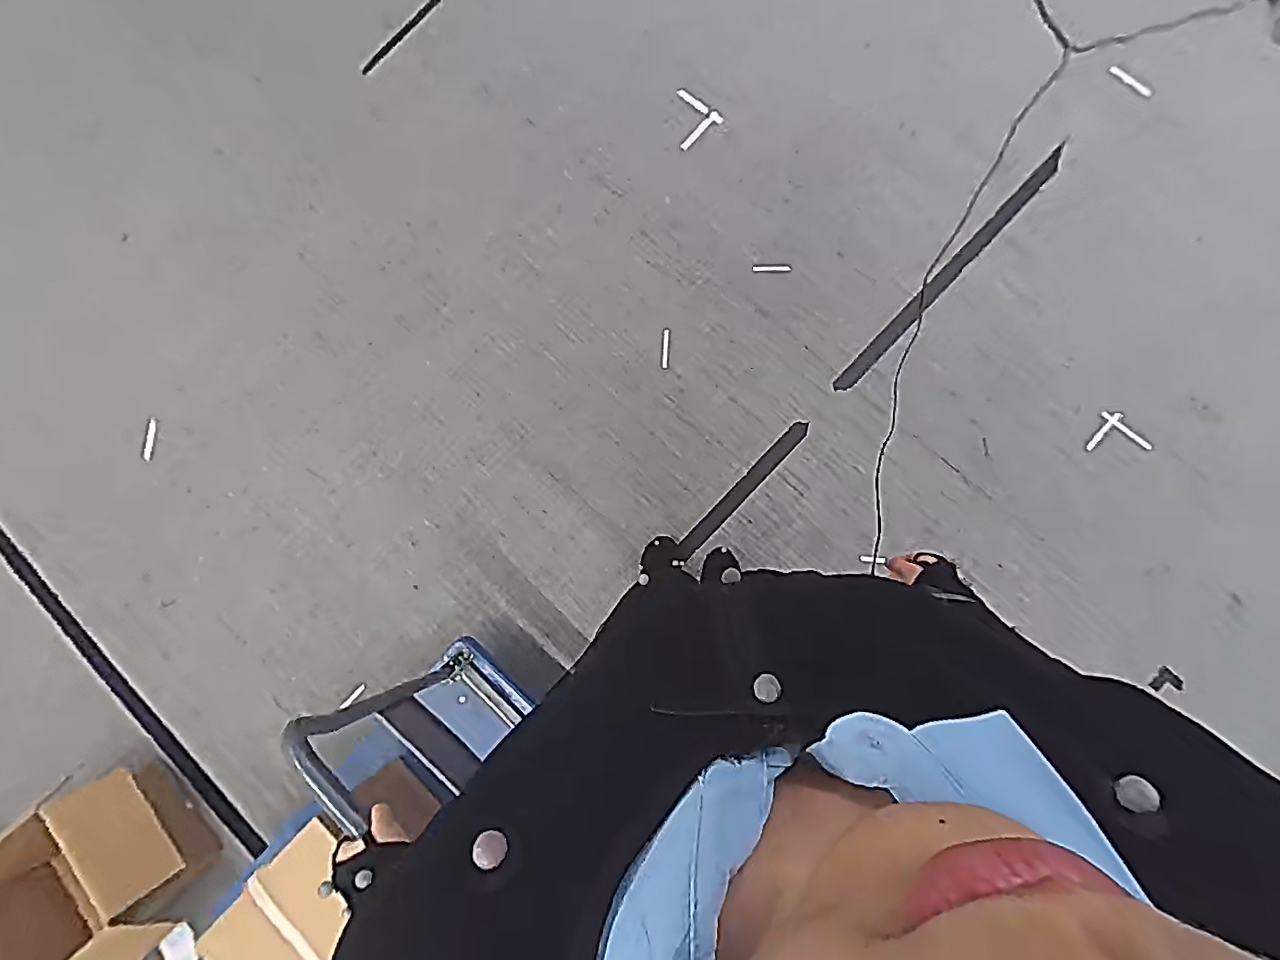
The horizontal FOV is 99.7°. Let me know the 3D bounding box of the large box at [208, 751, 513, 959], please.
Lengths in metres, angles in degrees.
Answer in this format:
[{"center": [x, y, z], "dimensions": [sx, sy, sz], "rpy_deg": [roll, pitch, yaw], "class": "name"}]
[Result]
[{"center": [-0.544, 0.868, 1.127], "dimensions": [0.408, 0.320, 0.320], "rpy_deg": [43, 87, 7], "class": "large box"}]
